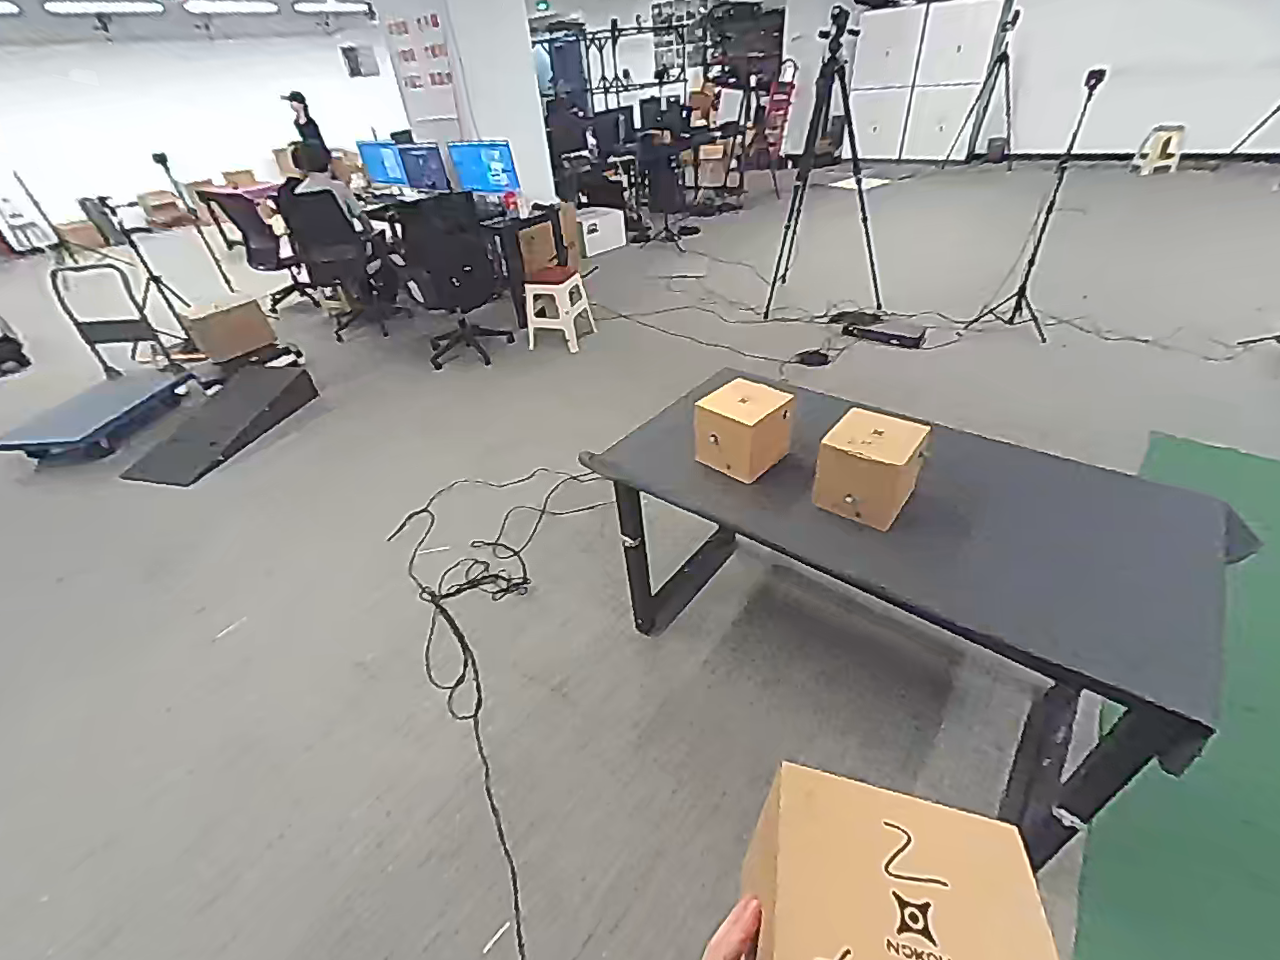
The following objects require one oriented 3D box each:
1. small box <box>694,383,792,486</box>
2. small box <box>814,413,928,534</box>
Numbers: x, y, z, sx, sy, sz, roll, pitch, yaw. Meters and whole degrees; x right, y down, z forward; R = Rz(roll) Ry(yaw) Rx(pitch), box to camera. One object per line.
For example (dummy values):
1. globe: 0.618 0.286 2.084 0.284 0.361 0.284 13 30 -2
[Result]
1. small box: 0.251 -0.111 1.322 0.168 0.176 0.179 28 47 36
2. small box: 0.490 -0.016 1.163 0.168 0.176 0.179 23 45 33
